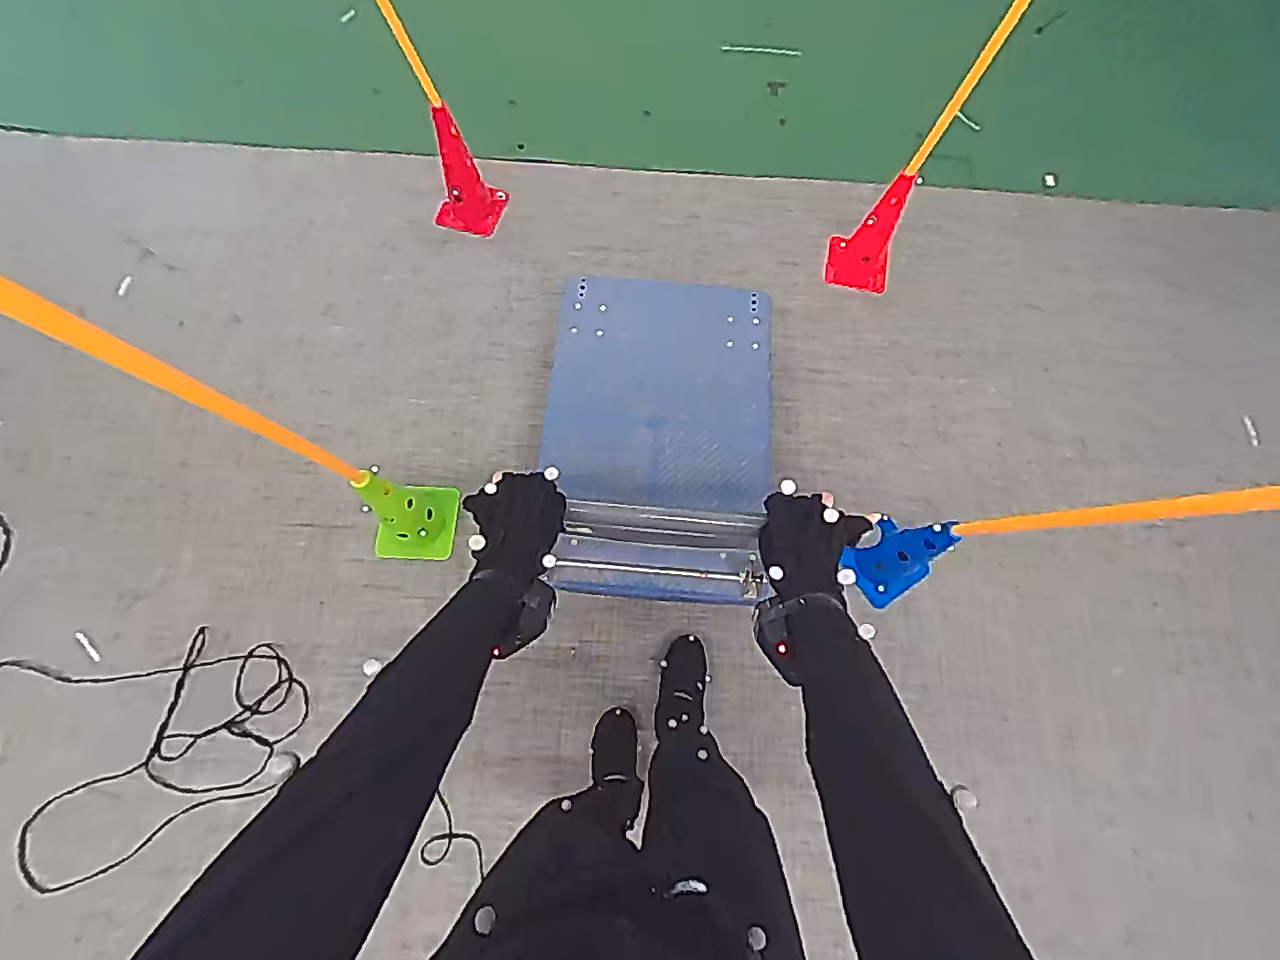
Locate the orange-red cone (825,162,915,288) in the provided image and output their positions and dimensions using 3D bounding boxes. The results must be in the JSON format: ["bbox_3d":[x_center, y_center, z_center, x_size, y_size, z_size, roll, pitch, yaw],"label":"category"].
[{"bbox_3d":[0.713,-0.773,1.599,0.198,0.360,0.199,14,72,4],"label":"orange-red cone"}]
